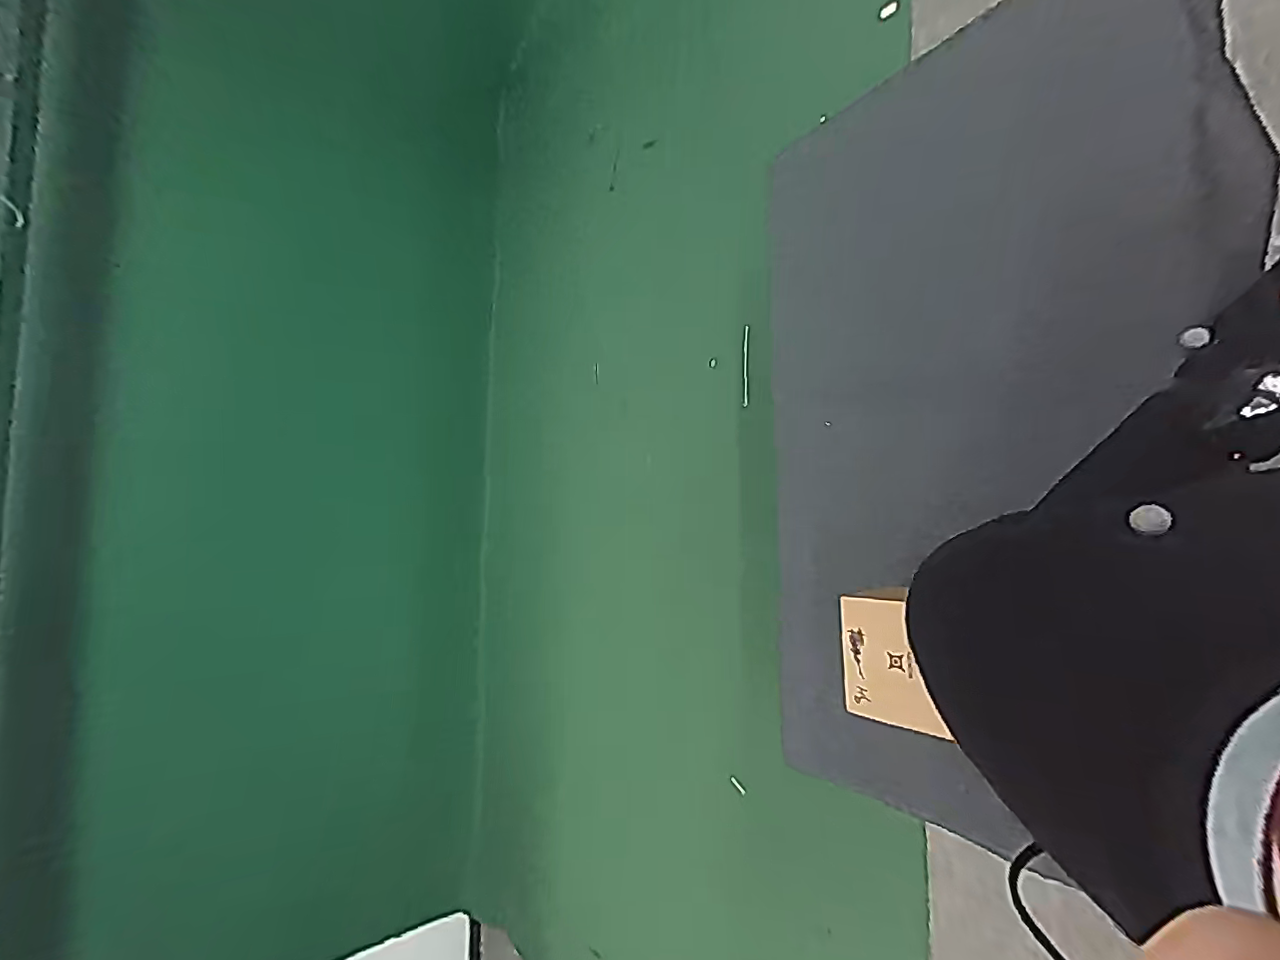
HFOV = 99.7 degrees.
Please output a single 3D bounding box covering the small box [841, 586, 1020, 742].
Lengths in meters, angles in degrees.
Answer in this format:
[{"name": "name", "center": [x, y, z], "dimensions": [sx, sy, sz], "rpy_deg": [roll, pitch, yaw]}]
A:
[{"name": "small box", "center": [0.412, 0.242, 0.764], "dimensions": [0.179, 0.176, 0.168], "rpy_deg": [-8, 81, 51]}]
